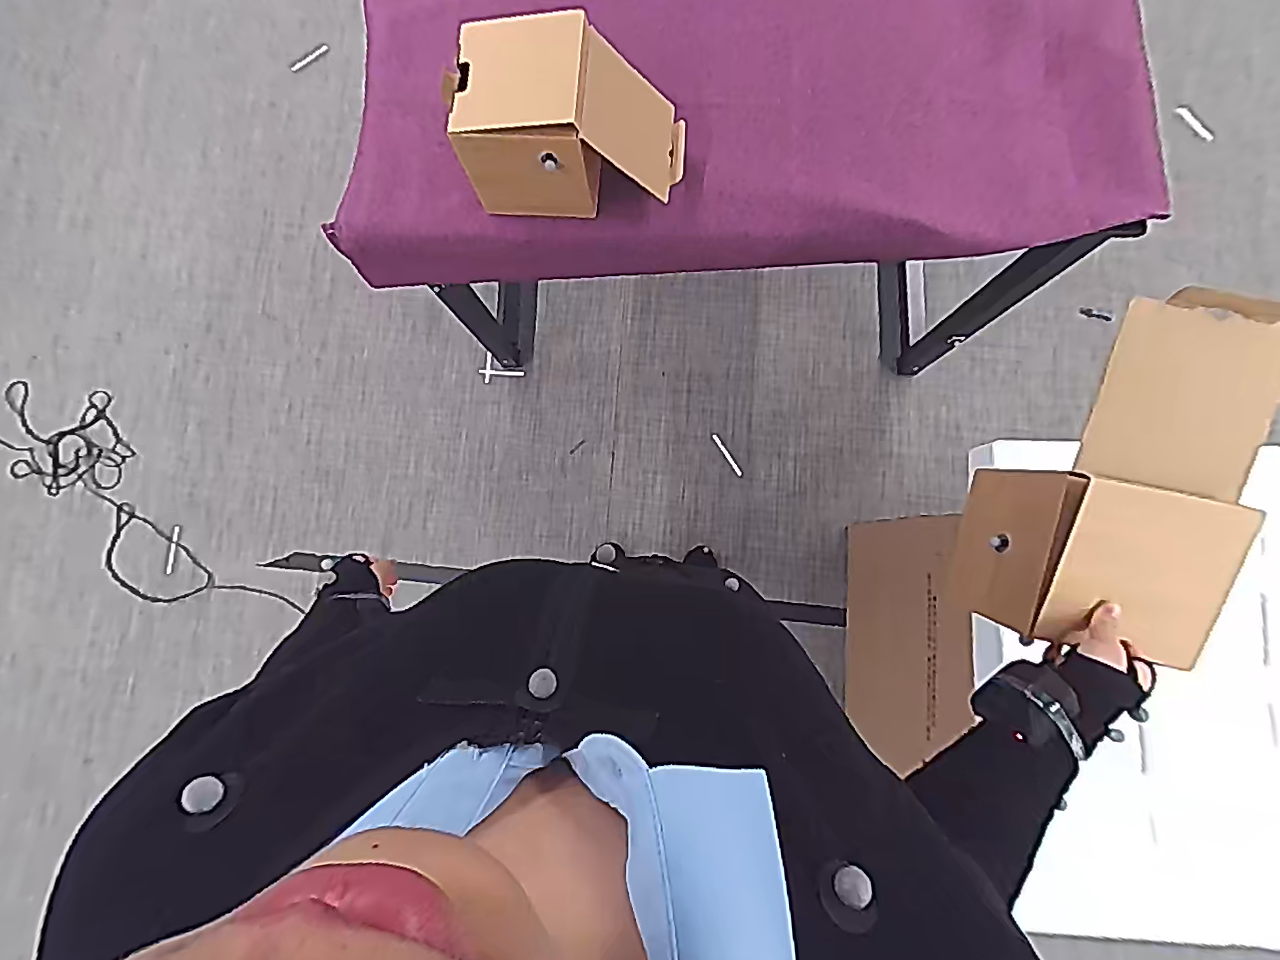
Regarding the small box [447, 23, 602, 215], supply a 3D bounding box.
[{"bbox_3d":[-0.153,-0.509,0.783,0.179,0.176,0.168,4,81,4],"label":"small box"}]
